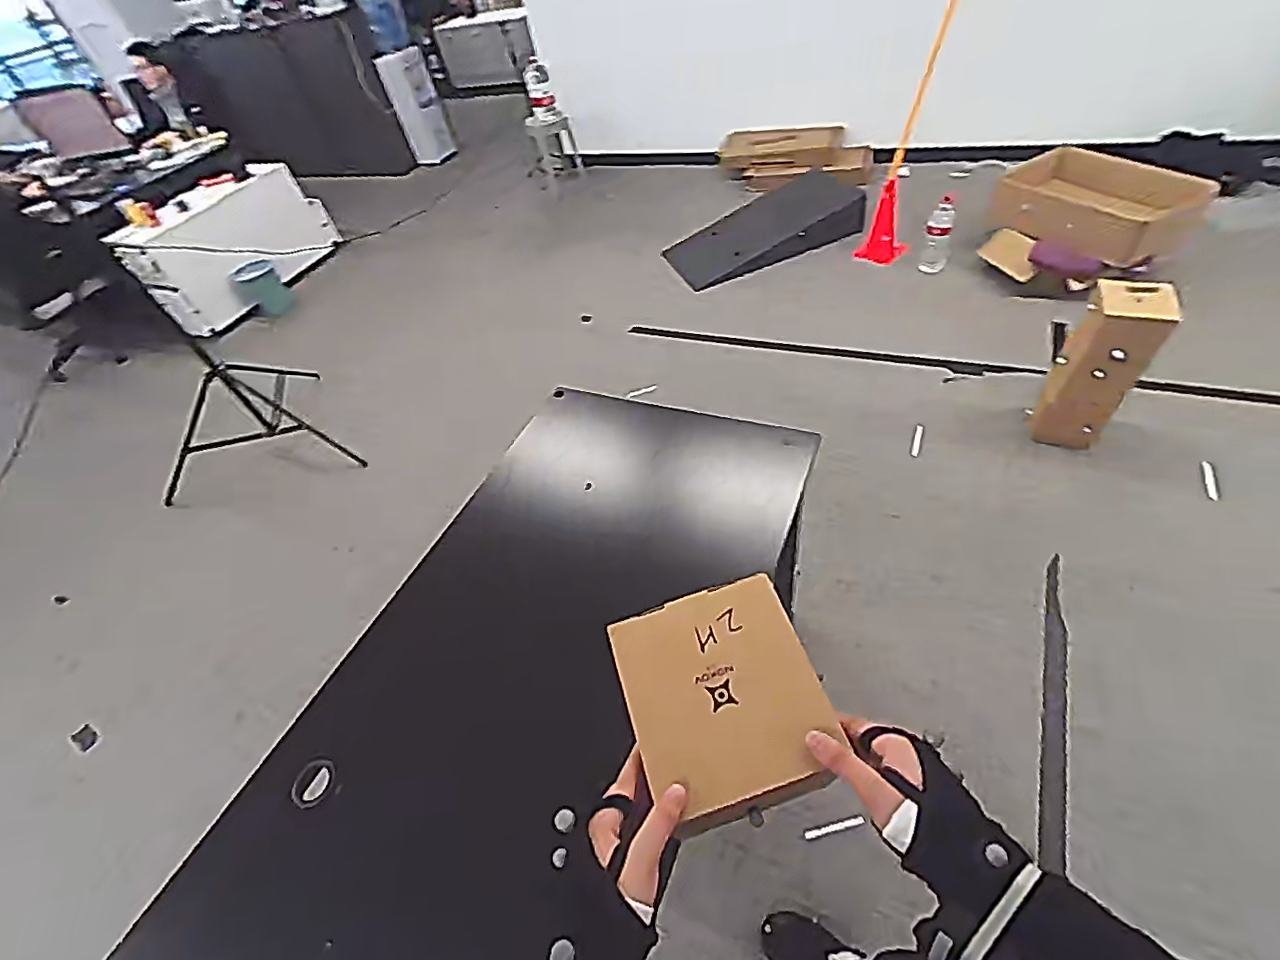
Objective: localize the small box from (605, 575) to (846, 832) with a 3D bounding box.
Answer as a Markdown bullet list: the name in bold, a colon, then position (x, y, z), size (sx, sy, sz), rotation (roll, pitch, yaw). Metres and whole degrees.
- **small box**: position (0.079, 0.228, 0.538), size (0.168, 0.176, 0.179), rotation (-19, 52, -2)

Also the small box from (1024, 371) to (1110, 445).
- **small box**: position (1.401, -0.234, 1.782), size (0.179, 0.176, 0.168), rotation (12, 53, 23)

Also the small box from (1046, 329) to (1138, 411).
- **small box**: position (1.374, -0.339, 1.659), size (0.168, 0.176, 0.179), rotation (11, 52, 22)

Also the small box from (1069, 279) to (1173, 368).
- **small box**: position (1.351, -0.444, 1.534), size (0.168, 0.176, 0.179), rotation (12, 54, 21)
